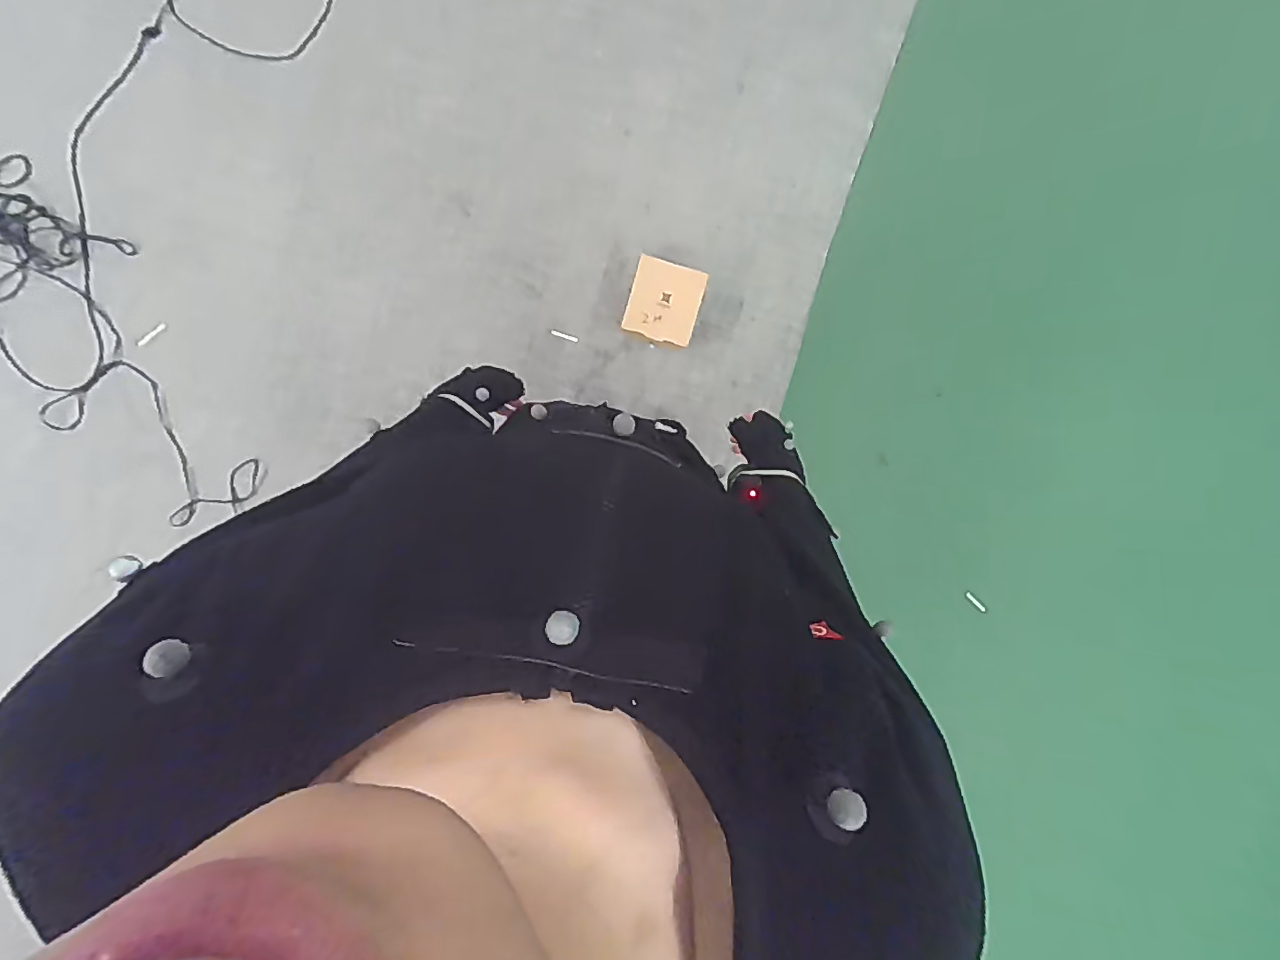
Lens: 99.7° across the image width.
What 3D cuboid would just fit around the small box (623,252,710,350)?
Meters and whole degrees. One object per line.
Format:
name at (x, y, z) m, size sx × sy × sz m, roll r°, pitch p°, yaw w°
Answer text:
small box at (0.061, -0.436, 1.342) m, size 0.168 × 0.176 × 0.179 m, roll 17°, pitch 99°, yaw -2°
